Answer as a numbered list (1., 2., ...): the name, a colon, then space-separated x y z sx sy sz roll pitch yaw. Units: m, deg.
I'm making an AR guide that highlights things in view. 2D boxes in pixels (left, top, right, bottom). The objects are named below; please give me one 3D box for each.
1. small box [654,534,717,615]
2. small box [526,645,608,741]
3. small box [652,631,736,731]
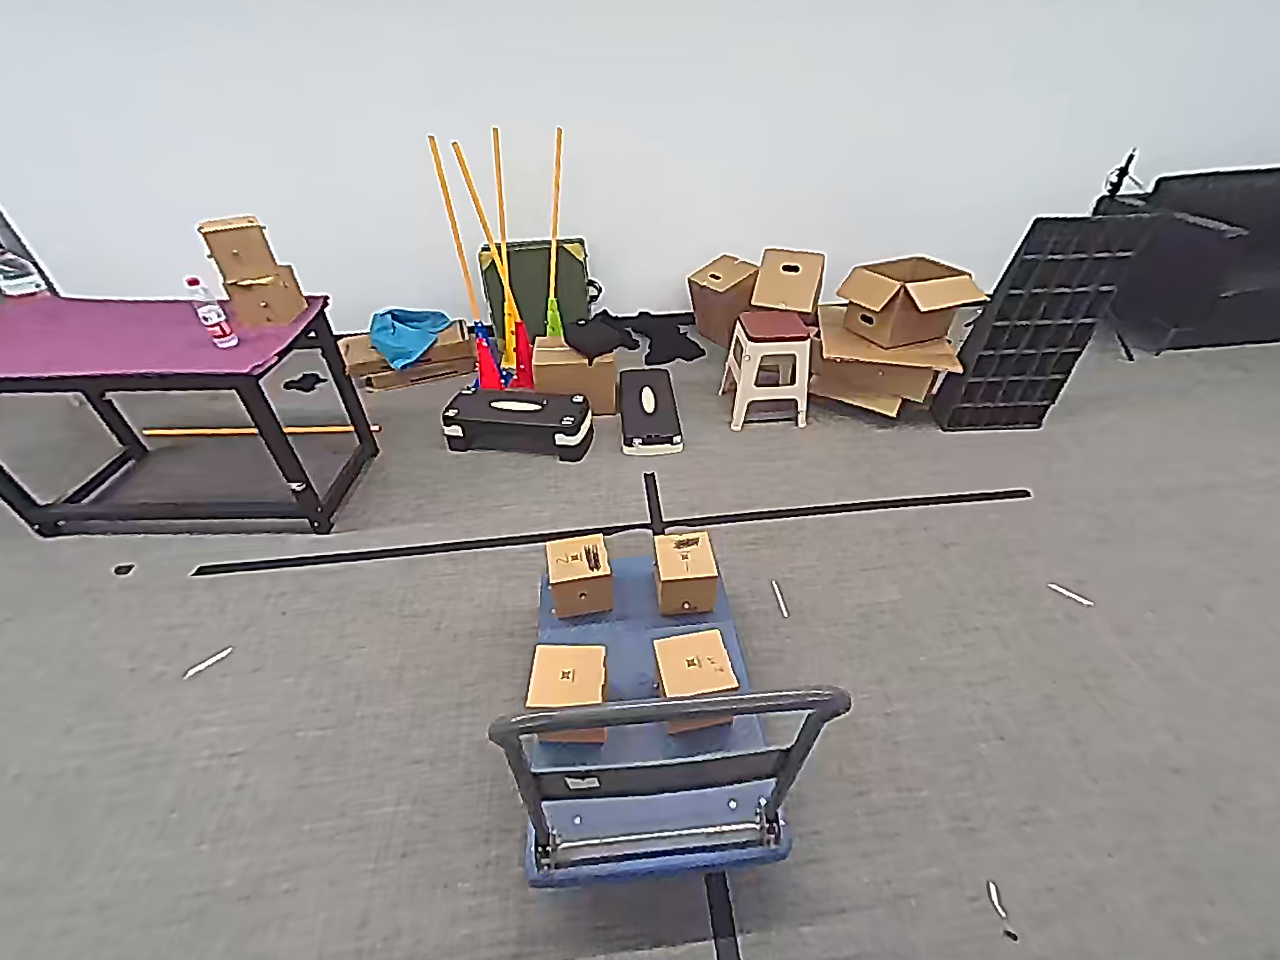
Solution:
1. small box: 0.133 0.287 1.641 0.168 0.176 0.179 -4 41 -3
2. small box: -0.174 0.532 1.349 0.179 0.176 0.168 1 39 0
3. small box: 0.131 0.512 1.369 0.179 0.176 0.168 -7 40 -8
